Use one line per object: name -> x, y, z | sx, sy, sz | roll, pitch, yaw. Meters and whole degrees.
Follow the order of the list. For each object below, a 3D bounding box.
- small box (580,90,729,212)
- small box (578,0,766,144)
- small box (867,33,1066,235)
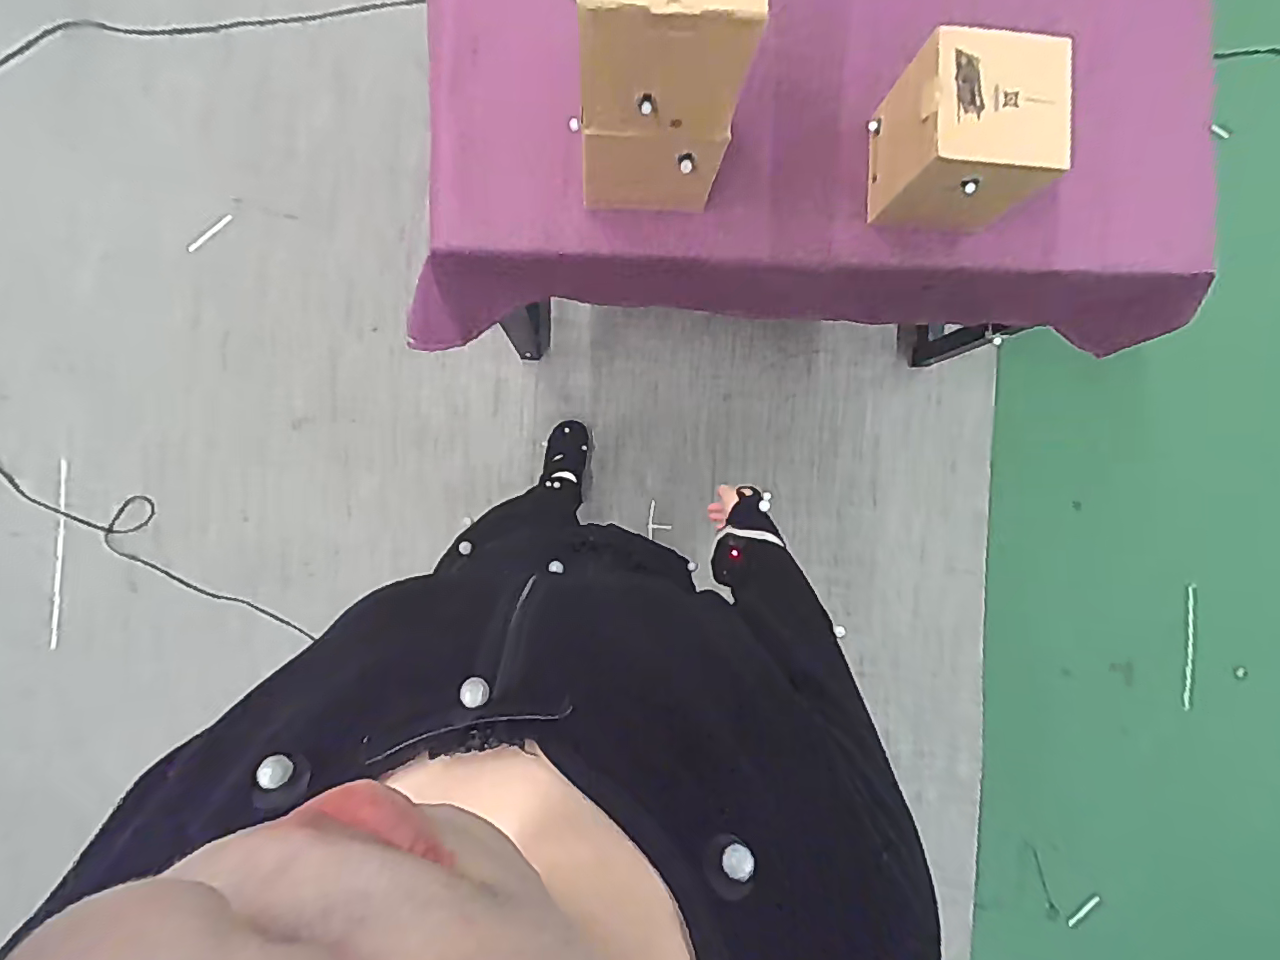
small box -> 0.011, -0.473, 0.707 | 0.179, 0.176, 0.168 | 0, 88, -5
small box -> 0.021, -0.481, 0.545 | 0.168, 0.176, 0.179 | 0, 90, -5
small box -> 0.432, -0.457, 0.741 | 0.179, 0.176, 0.168 | 2, 89, -5
